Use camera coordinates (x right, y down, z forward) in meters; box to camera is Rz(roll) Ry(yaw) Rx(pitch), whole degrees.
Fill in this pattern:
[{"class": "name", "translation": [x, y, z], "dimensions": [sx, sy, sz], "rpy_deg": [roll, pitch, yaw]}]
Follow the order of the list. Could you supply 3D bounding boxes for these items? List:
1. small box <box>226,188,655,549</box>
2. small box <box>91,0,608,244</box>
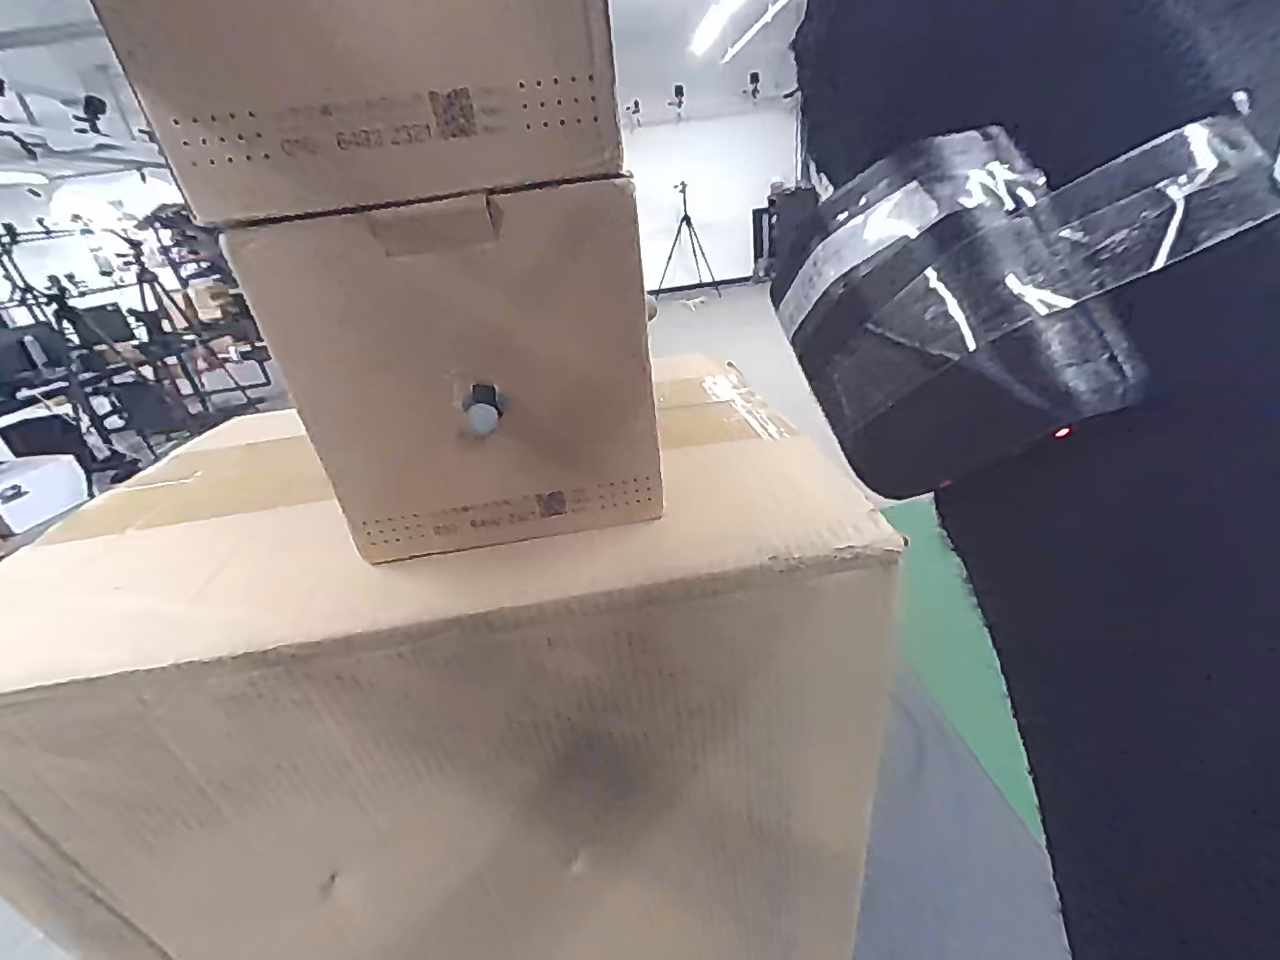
[{"class": "small box", "translation": [-0.088, -0.072, 0.331], "dimensions": [0.168, 0.176, 0.179], "rpy_deg": [-9, 30, -4]}, {"class": "small box", "translation": [-0.111, -0.210, 0.248], "dimensions": [0.168, 0.176, 0.179], "rpy_deg": [-9, 29, -5]}]
